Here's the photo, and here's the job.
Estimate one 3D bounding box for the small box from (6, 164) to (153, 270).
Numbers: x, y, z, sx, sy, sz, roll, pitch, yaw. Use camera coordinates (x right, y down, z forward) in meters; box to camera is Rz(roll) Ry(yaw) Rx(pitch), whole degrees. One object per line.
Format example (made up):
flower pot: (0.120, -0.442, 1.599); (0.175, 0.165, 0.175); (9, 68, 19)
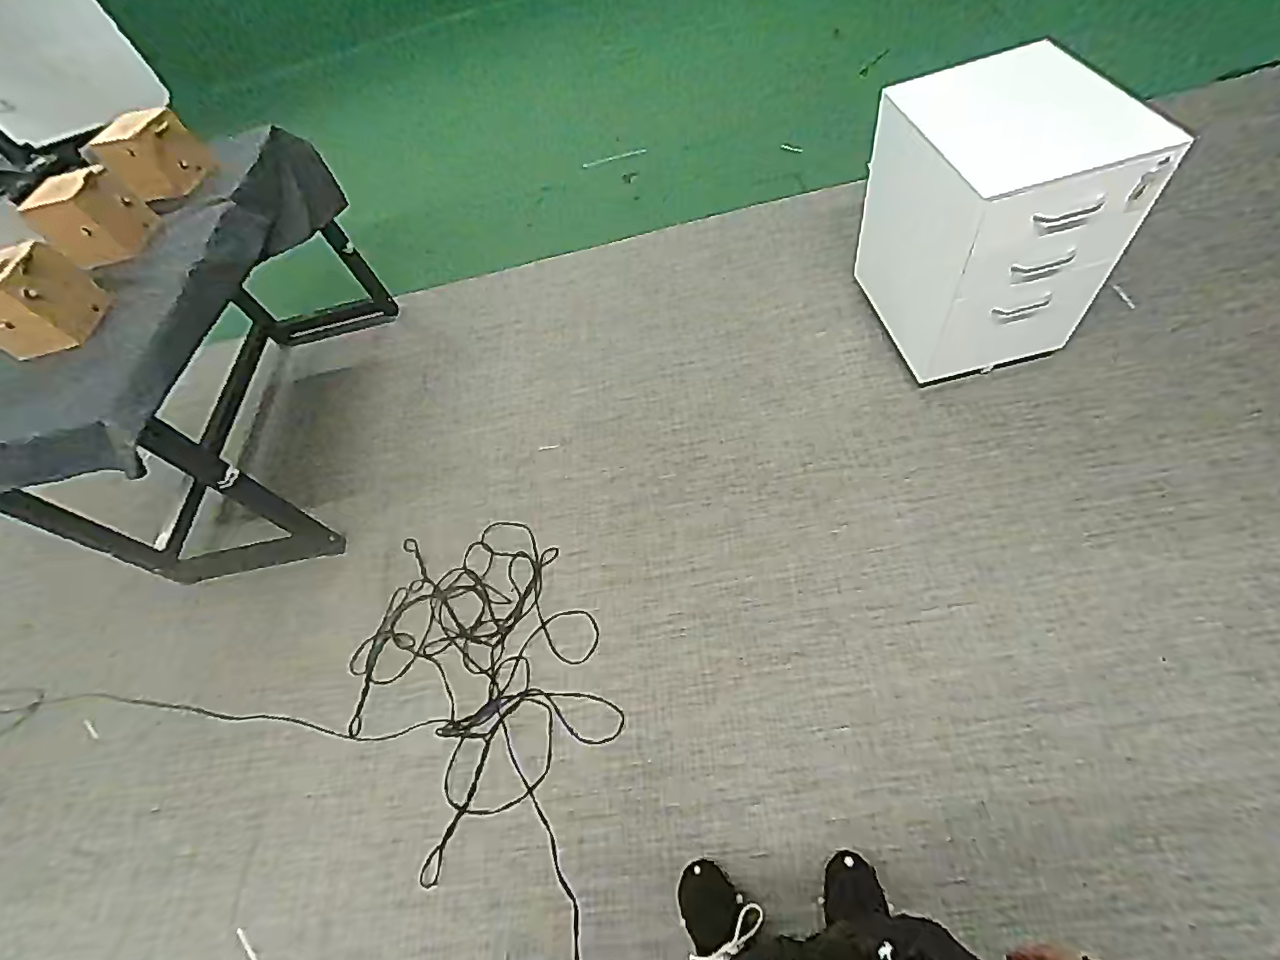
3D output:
small box: (-1.435, -0.677, 1.401); (0.179, 0.176, 0.168); (-9, 56, 10)

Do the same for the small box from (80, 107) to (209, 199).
small box: (-1.412, -0.932, 1.553); (0.179, 0.176, 0.168); (3, 60, 15)
